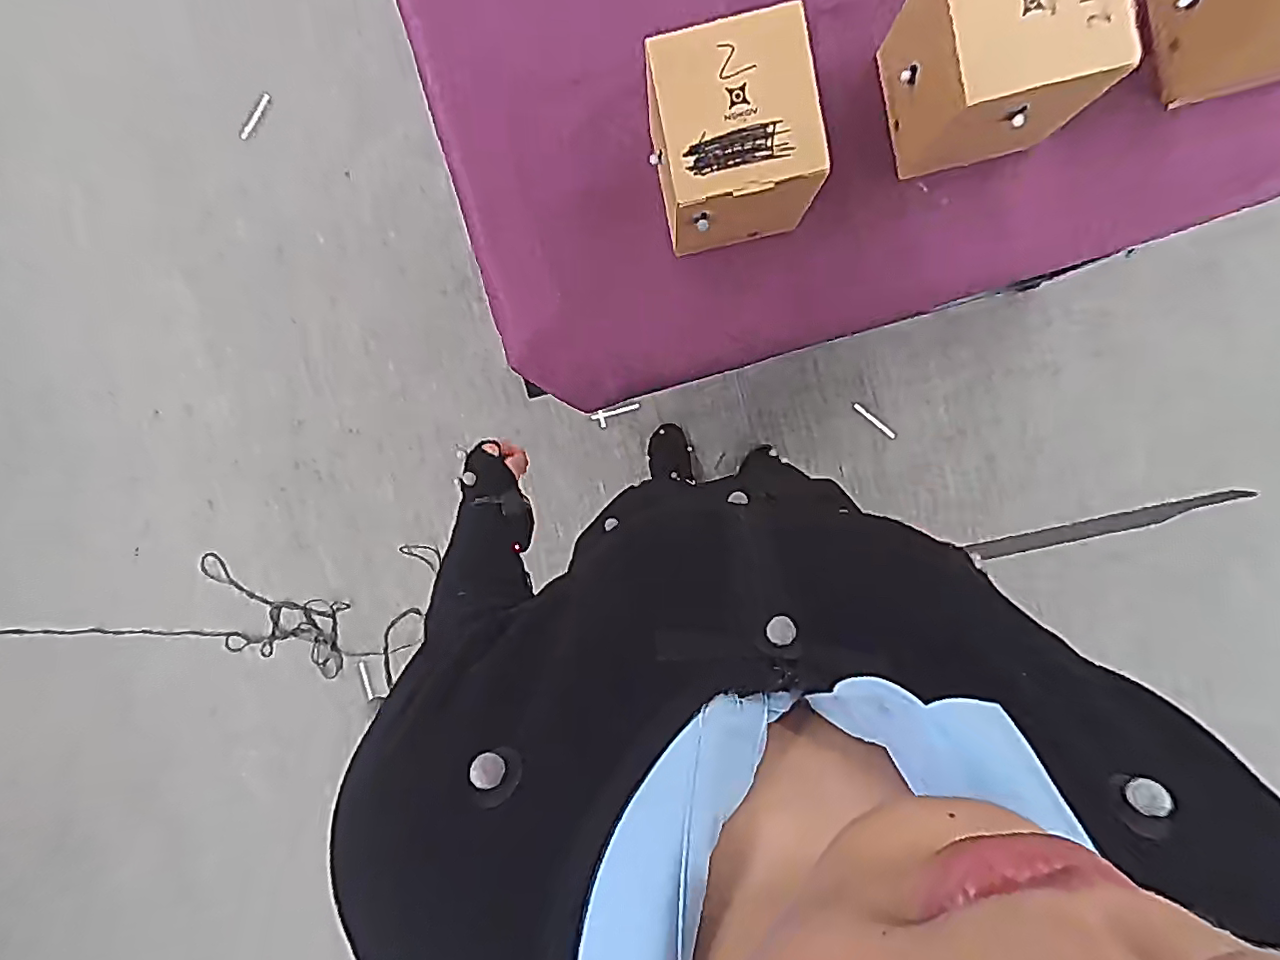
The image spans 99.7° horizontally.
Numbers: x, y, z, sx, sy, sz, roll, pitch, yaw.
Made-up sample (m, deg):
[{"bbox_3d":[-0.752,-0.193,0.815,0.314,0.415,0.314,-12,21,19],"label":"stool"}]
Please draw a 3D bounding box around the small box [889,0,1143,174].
[{"bbox_3d":[0.406,-0.483,0.618,0.179,0.176,0.168,-12,95,4],"label":"small box"}]

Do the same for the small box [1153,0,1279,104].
[{"bbox_3d":[0.732,-0.561,0.594,0.179,0.176,0.168,-12,93,5],"label":"small box"}]
